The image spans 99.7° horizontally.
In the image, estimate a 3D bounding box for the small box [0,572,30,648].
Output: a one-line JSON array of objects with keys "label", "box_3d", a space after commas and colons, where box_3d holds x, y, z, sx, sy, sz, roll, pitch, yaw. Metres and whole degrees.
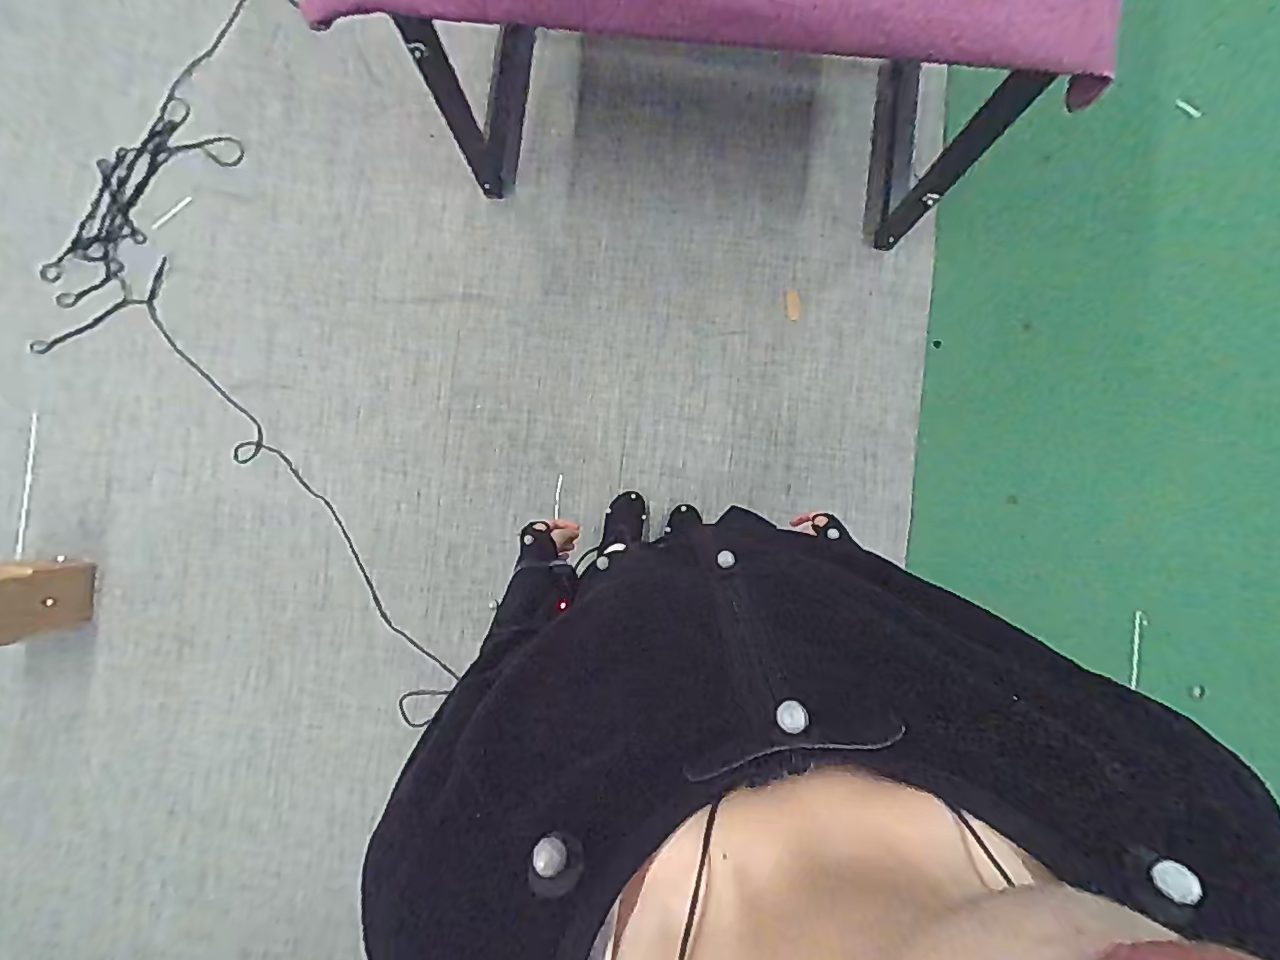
[{"label": "small box", "box_3d": [-1.631, 0.319, 1.290, 0.168, 0.176, 0.179, 5, 87, 0]}]

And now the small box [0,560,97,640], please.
[{"label": "small box", "box_3d": [-1.628, 0.317, 1.455, 0.168, 0.176, 0.179, 5, 87, 1]}]
